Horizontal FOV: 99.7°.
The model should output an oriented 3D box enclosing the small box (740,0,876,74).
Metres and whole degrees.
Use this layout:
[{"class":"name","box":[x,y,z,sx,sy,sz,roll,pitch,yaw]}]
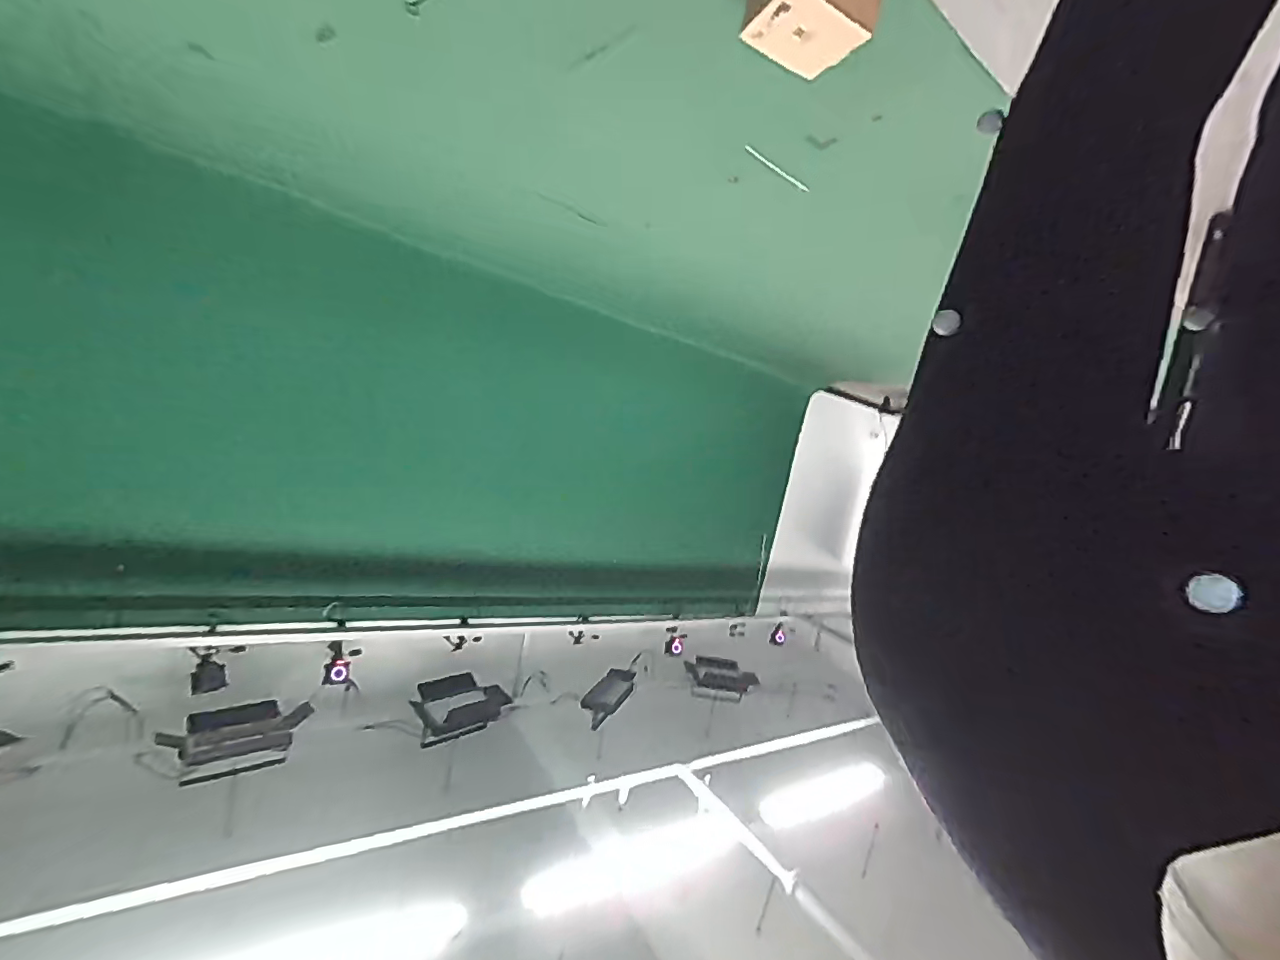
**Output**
[{"class":"small box","box":[0.308,-0.873,0.946,0.179,0.176,0.168,10,-174,-25]}]
